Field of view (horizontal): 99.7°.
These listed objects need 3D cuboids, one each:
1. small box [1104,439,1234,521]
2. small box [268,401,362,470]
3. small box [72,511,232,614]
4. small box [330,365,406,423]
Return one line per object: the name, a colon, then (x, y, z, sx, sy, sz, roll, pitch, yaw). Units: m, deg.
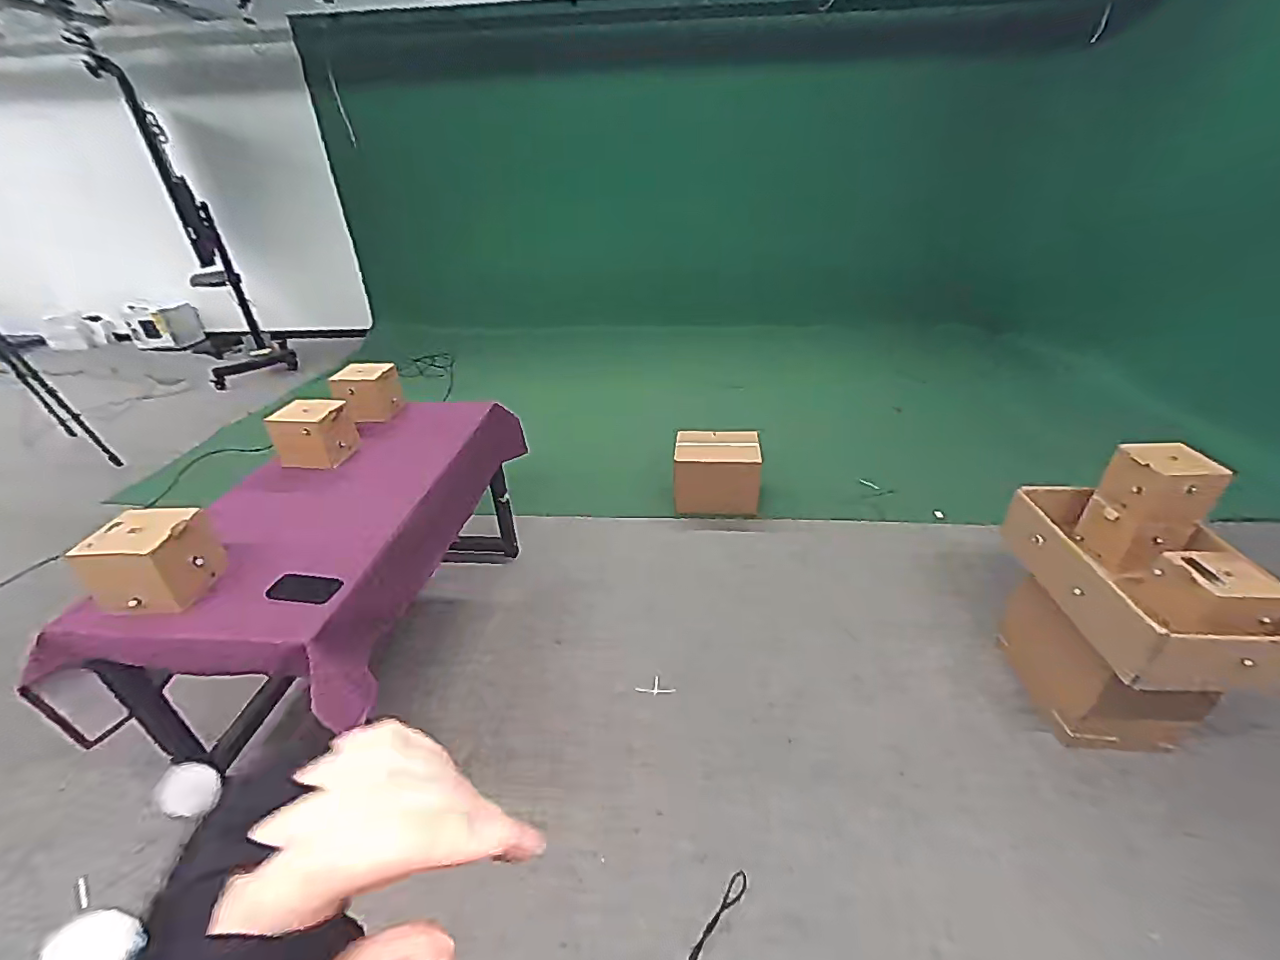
small box: (1.428, 0.000, 1.482, 0.179, 0.176, 0.168, -1, 33, 1)
small box: (-1.038, -0.144, 1.742, 0.179, 0.176, 0.168, 2, 32, 6)
small box: (-1.069, 0.184, 1.206, 0.179, 0.176, 0.168, -1, 30, 1)
small box: (-1.008, -0.321, 2.021, 0.179, 0.176, 0.168, 1, 33, 5)
